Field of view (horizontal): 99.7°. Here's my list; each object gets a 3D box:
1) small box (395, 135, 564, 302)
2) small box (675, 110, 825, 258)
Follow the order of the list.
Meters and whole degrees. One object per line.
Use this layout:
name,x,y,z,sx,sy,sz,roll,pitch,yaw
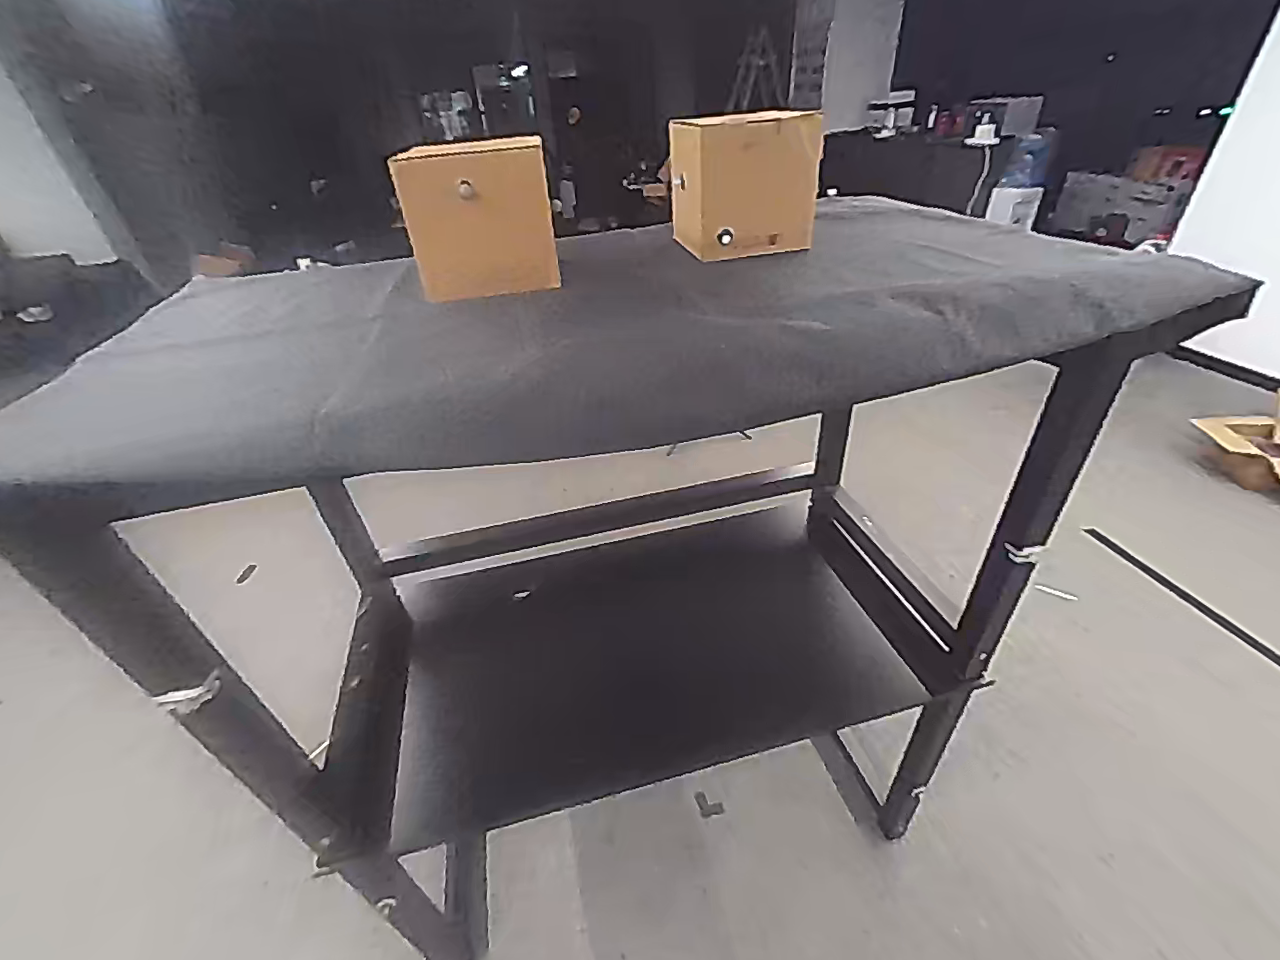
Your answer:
small box,-0.198,-0.354,0.729,0.179,0.176,0.168,-8,36,-4
small box,0.152,-0.434,0.797,0.168,0.176,0.179,-9,35,-6
